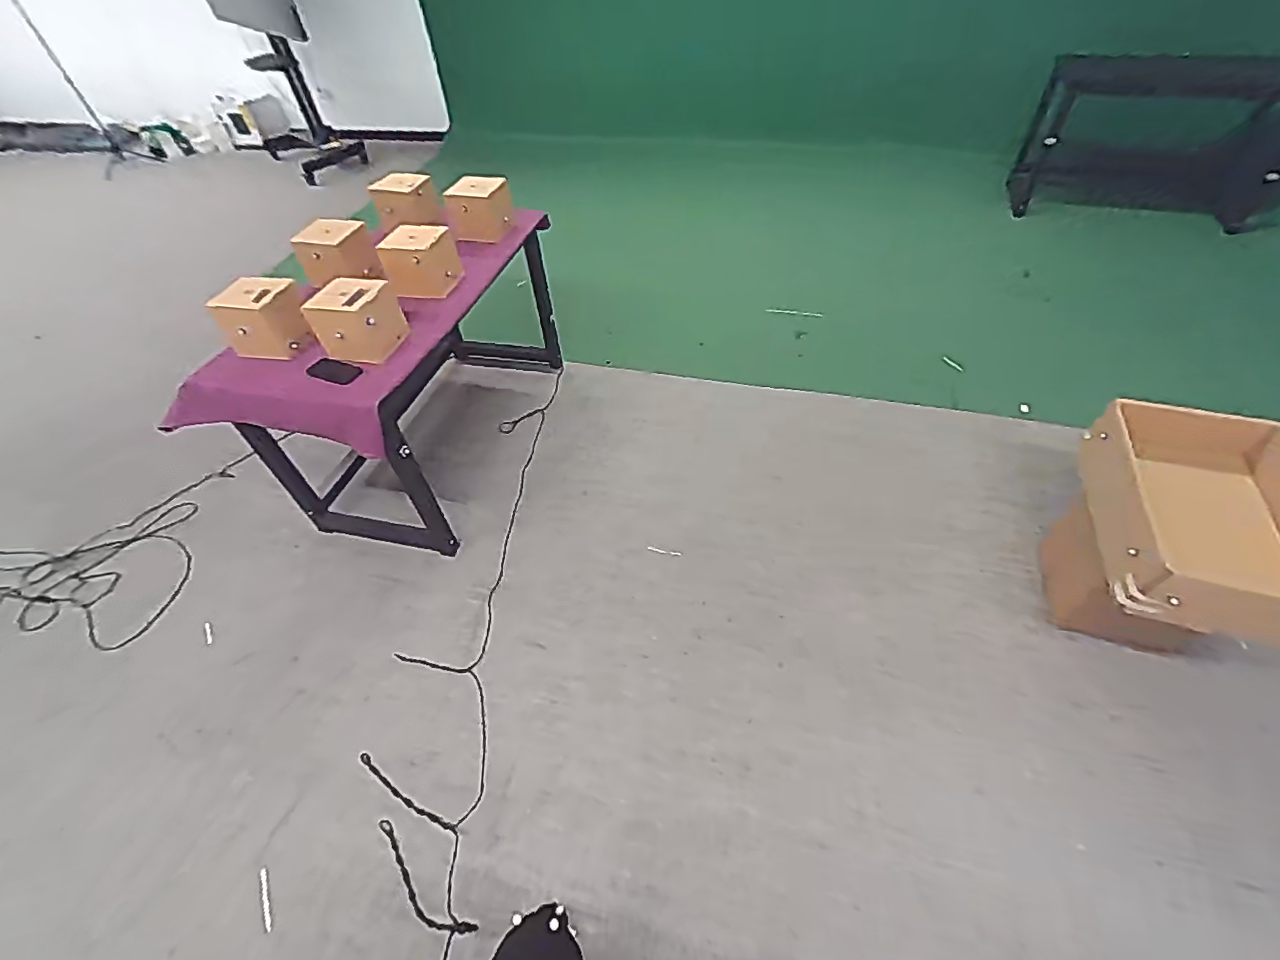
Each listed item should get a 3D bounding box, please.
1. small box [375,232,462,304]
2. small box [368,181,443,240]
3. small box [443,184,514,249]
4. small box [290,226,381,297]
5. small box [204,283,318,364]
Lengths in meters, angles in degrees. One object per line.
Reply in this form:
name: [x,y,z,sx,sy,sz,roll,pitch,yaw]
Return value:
small box: [-0.713,-0.691,1.762,0.179,0.176,0.168,7,48,11]
small box: [-0.898,-1.033,2.087,0.179,0.176,0.168,10,50,14]
small box: [-0.594,-0.981,2.012,0.179,0.176,0.168,10,51,14]
small box: [-1.021,-0.738,1.828,0.179,0.176,0.168,9,50,11]
small box: [-1.087,-0.453,1.572,0.179,0.176,0.168,5,48,10]
